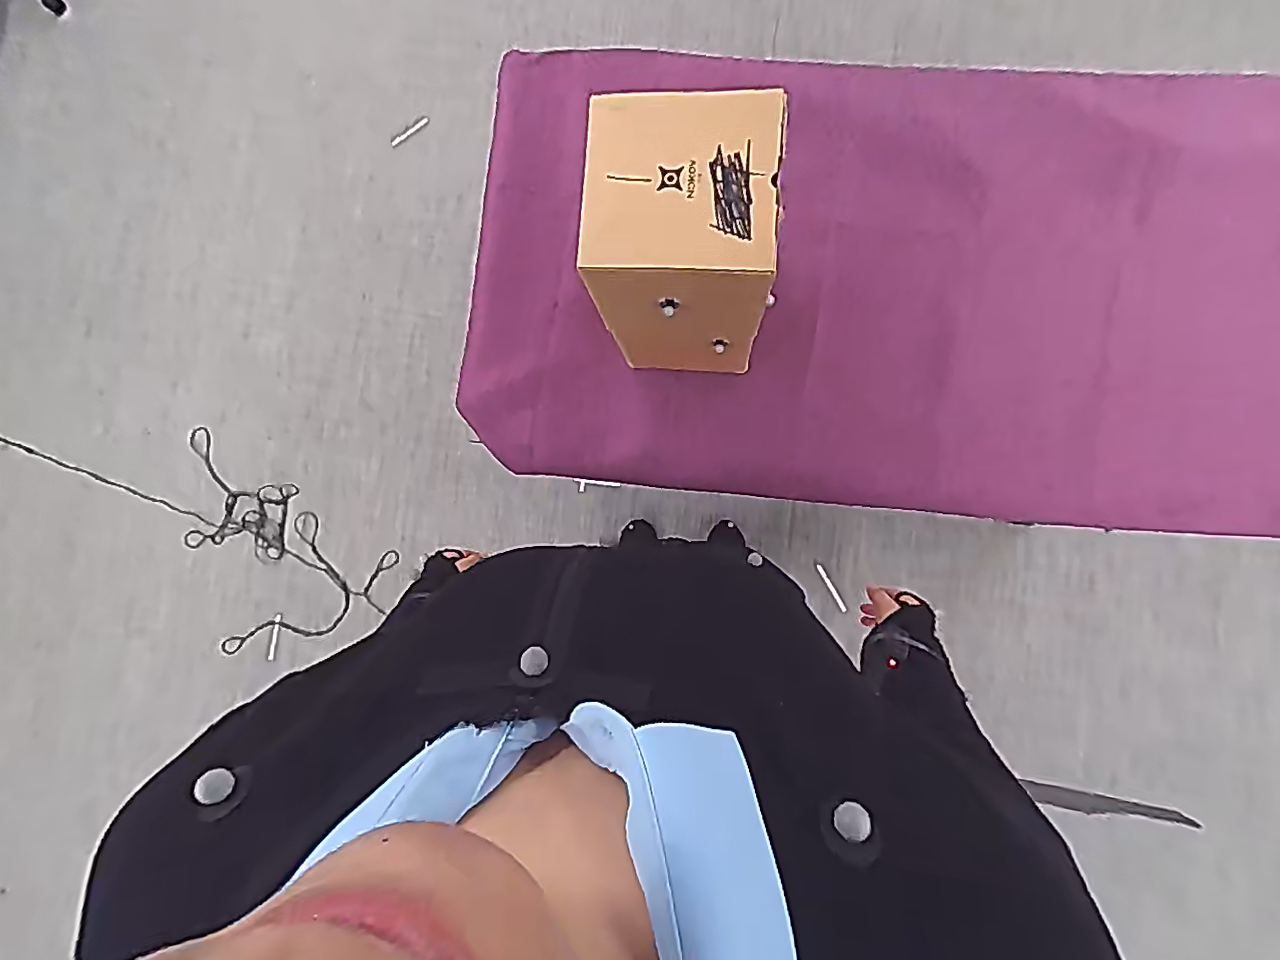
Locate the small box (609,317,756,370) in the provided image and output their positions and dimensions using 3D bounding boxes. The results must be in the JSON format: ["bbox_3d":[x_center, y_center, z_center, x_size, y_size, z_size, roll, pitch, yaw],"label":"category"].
[{"bbox_3d":[0.064,-0.250,0.720,0.179,0.176,0.168,4,86,7],"label":"small box"}]

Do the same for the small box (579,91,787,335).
[{"bbox_3d":[0.046,-0.258,0.557,0.179,0.176,0.168,4,86,7],"label":"small box"}]
